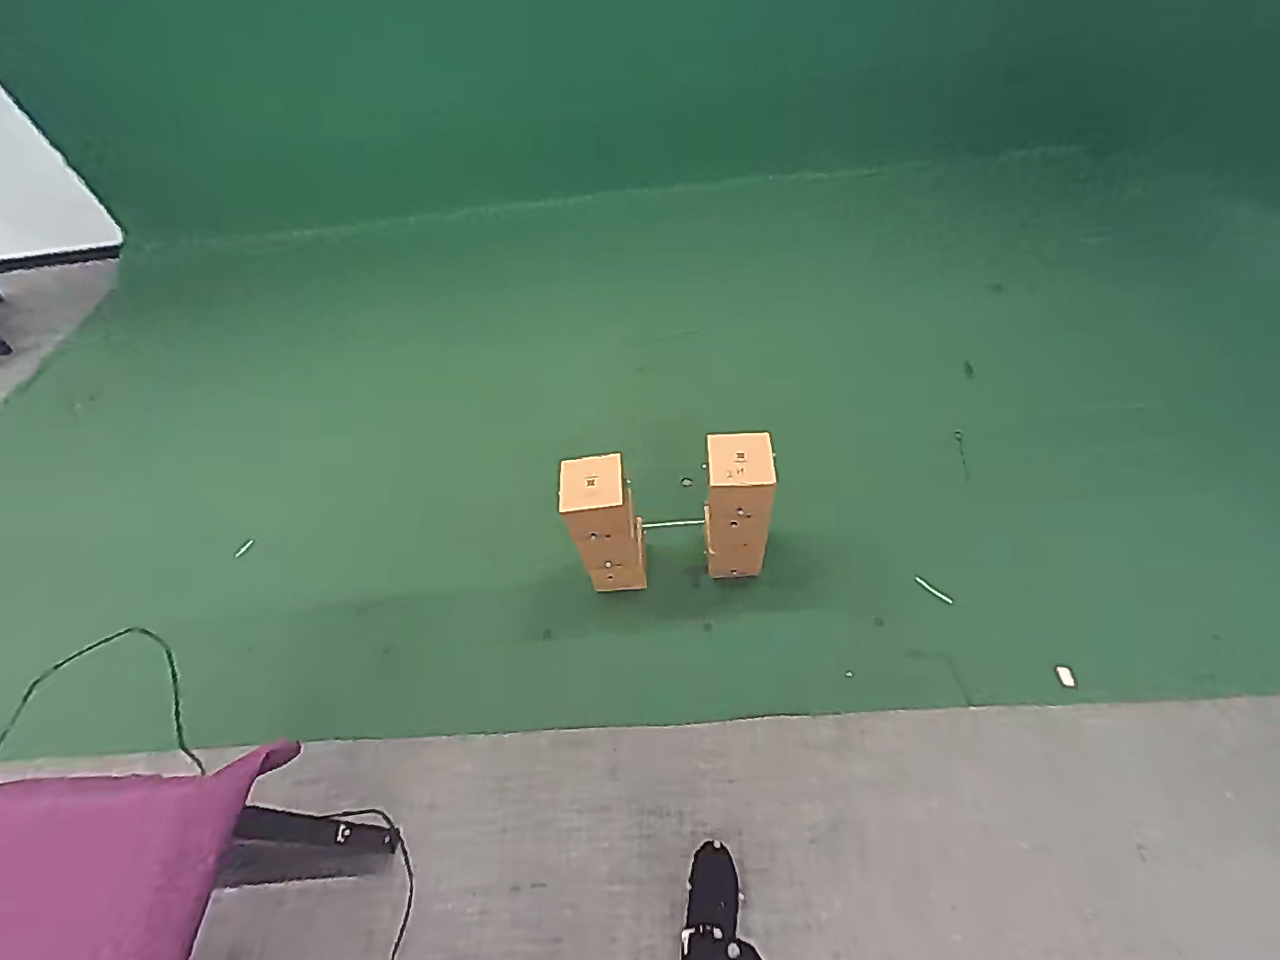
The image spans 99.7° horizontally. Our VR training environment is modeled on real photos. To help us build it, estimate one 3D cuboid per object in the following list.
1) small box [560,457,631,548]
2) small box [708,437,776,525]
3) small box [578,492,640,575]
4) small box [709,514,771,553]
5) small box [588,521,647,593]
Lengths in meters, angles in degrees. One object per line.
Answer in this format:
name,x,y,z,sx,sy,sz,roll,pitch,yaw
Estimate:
small box,-0.117,0.064,1.474,0.168,0.176,0.179,-7,52,4
small box,0.269,0.003,1.464,0.168,0.176,0.179,-1,54,6
small box,-0.092,0.161,1.602,0.168,0.176,0.179,-7,53,3
small box,0.288,0.099,1.597,0.168,0.176,0.179,-2,52,6
small box,-0.066,0.254,1.735,0.168,0.176,0.179,-4,51,5
